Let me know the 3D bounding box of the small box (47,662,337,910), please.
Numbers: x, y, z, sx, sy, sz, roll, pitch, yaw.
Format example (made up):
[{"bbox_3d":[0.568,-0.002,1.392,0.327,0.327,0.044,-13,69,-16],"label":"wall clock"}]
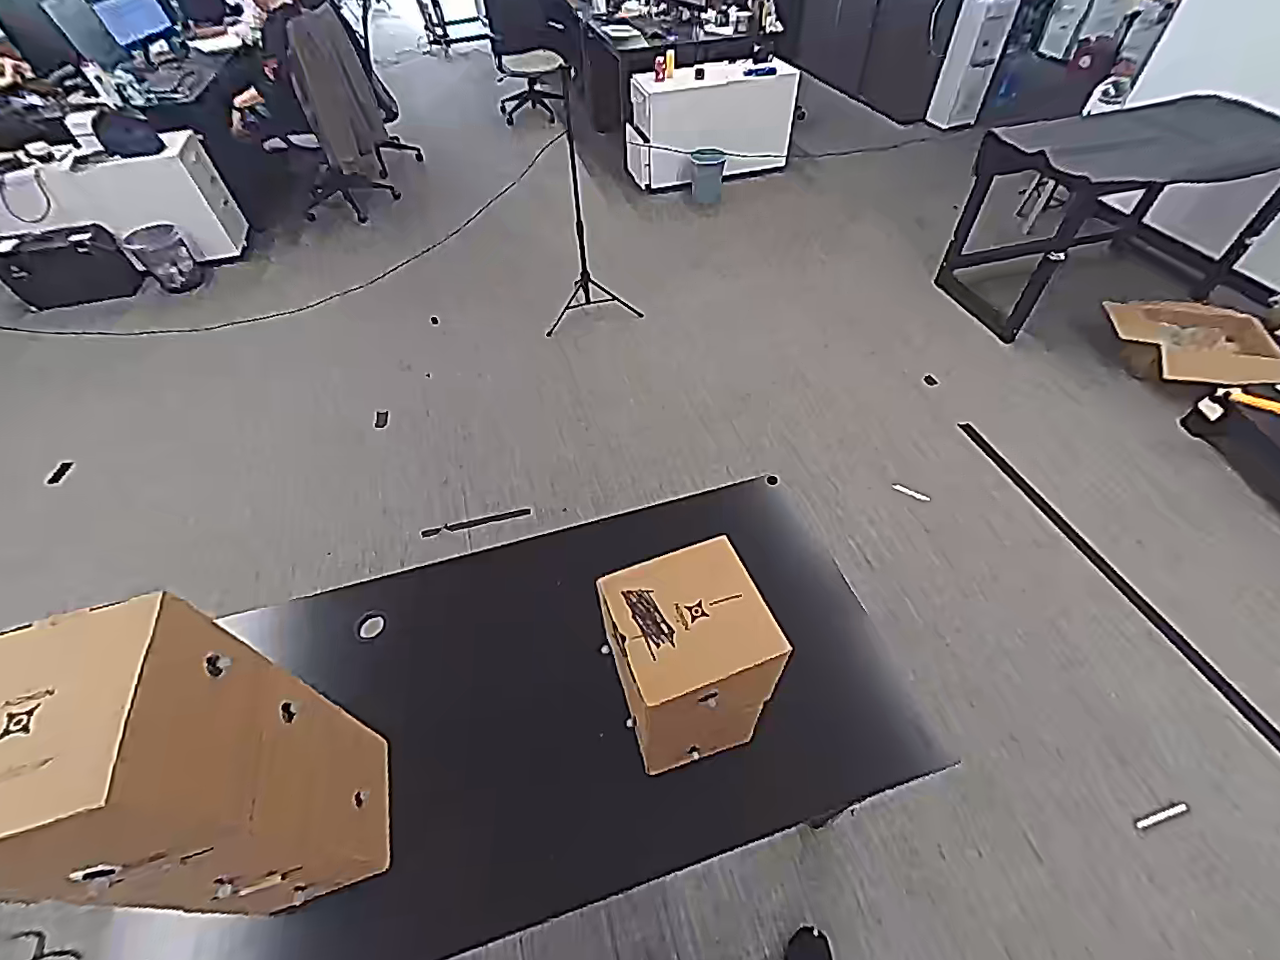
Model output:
[{"bbox_3d":[-0.452,0.333,0.588,0.168,0.176,0.179,-16,51,-10],"label":"small box"}]

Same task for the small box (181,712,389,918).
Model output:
[{"bbox_3d":[-0.447,0.440,0.713,0.168,0.176,0.179,-16,52,-11],"label":"small box"}]

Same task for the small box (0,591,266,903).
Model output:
[{"bbox_3d":[-0.457,0.228,0.463,0.168,0.176,0.179,-16,52,-9],"label":"small box"}]

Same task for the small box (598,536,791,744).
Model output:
[{"bbox_3d":[0.060,0.203,0.675,0.179,0.176,0.168,-17,52,-12],"label":"small box"}]

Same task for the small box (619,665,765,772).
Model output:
[{"bbox_3d":[0.064,0.304,0.805,0.168,0.176,0.179,-15,51,-10],"label":"small box"}]
